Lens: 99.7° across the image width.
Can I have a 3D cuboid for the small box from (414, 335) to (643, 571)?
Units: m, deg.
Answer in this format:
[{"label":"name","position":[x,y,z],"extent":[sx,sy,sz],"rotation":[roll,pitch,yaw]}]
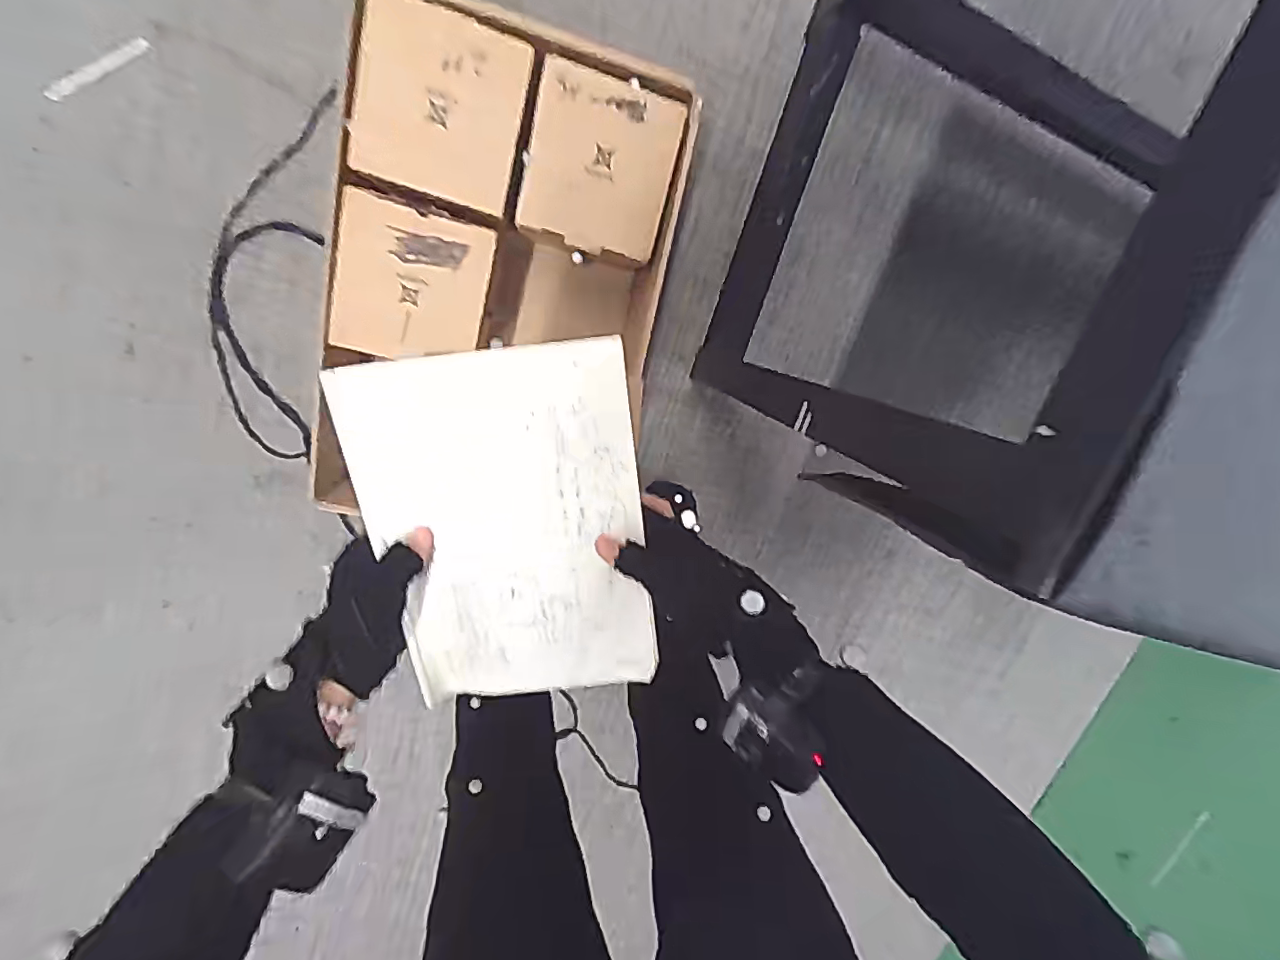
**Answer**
[{"label":"small box","position":[-0.102,-0.032,0.503],"extent":[0.168,0.176,0.179],"rotation":[6,102,-11]}]
